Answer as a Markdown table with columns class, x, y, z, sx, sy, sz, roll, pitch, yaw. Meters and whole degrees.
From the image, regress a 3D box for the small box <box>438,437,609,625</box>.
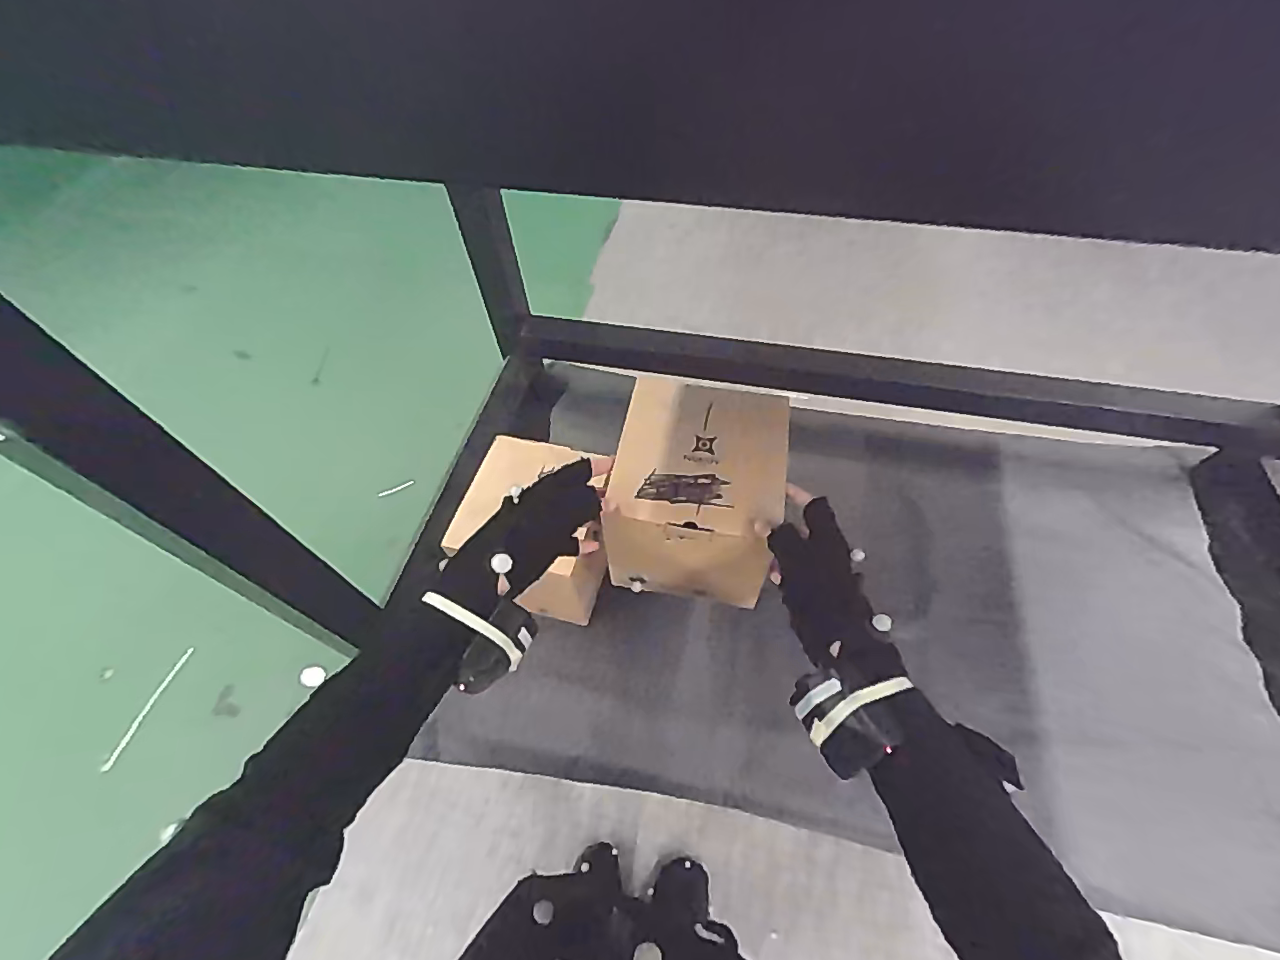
| class | x | y | z | sx | sy | sz | roll | pitch | yaw |
| --- | --- | --- | --- | --- | --- | --- | --- | --- | --- |
| small box | -0.135 | 0.073 | 0.726 | 0.168 | 0.176 | 0.179 | 13 | 57 | 9 |

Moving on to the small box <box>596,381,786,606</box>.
| class | x | y | z | sx | sy | sz | roll | pitch | yaw |
| --- | --- | --- | --- | --- | --- | --- | --- | --- | --- |
| small box | 0.058 | 0.020 | 0.589 | 0.168 | 0.176 | 0.179 | 8 | 56 | 7 |
